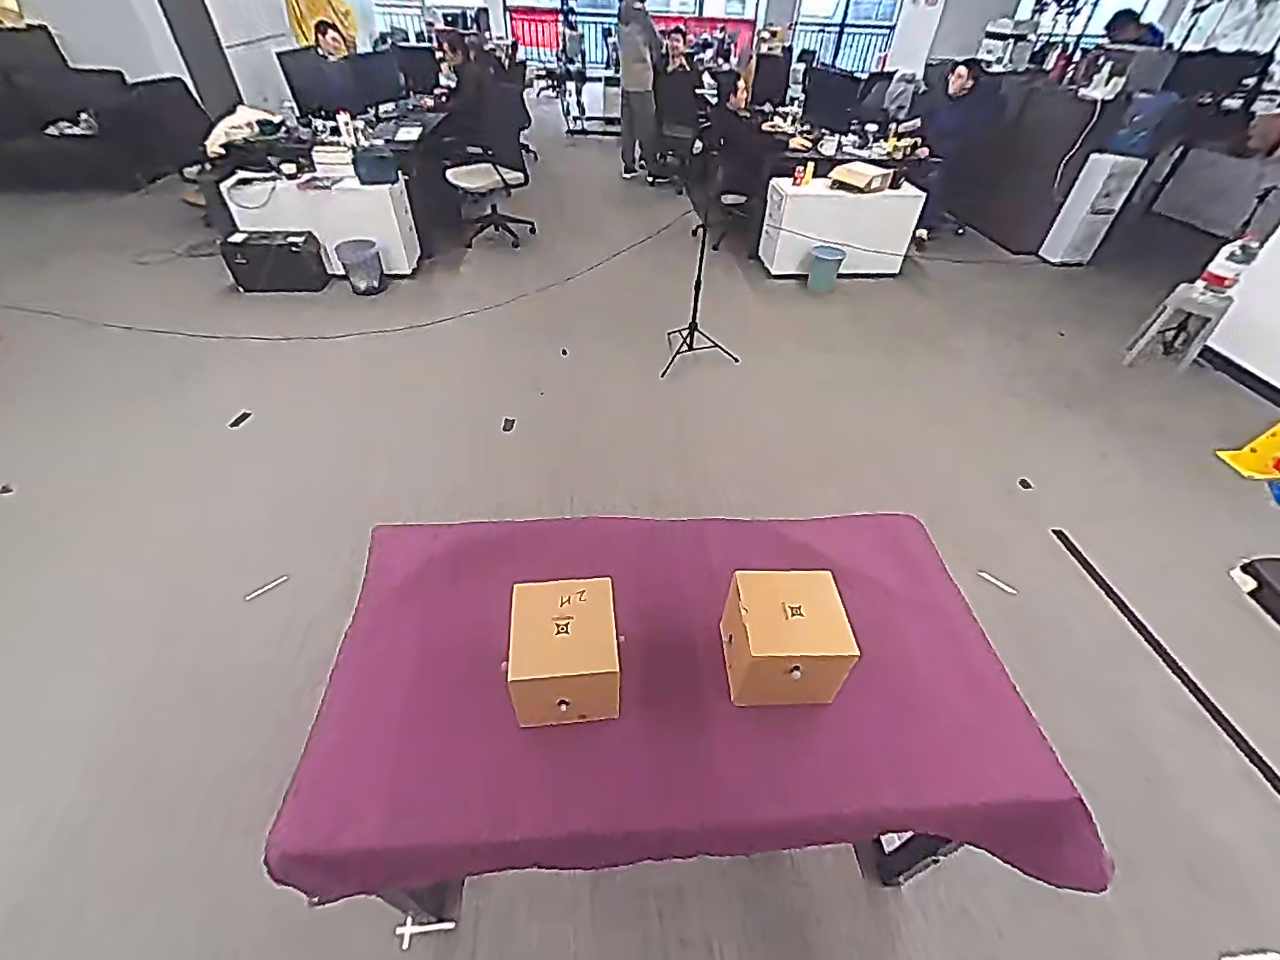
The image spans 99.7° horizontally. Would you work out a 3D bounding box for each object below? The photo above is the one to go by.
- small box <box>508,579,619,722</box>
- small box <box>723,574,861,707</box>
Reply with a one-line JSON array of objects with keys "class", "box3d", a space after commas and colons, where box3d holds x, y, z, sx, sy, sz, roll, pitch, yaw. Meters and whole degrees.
[{"class": "small box", "box3d": [-0.121, 0.290, 0.906, 0.168, 0.176, 0.179, -2, 43, -6]}, {"class": "small box", "box3d": [0.252, 0.280, 0.941, 0.179, 0.176, 0.168, 0, 43, -2]}]
